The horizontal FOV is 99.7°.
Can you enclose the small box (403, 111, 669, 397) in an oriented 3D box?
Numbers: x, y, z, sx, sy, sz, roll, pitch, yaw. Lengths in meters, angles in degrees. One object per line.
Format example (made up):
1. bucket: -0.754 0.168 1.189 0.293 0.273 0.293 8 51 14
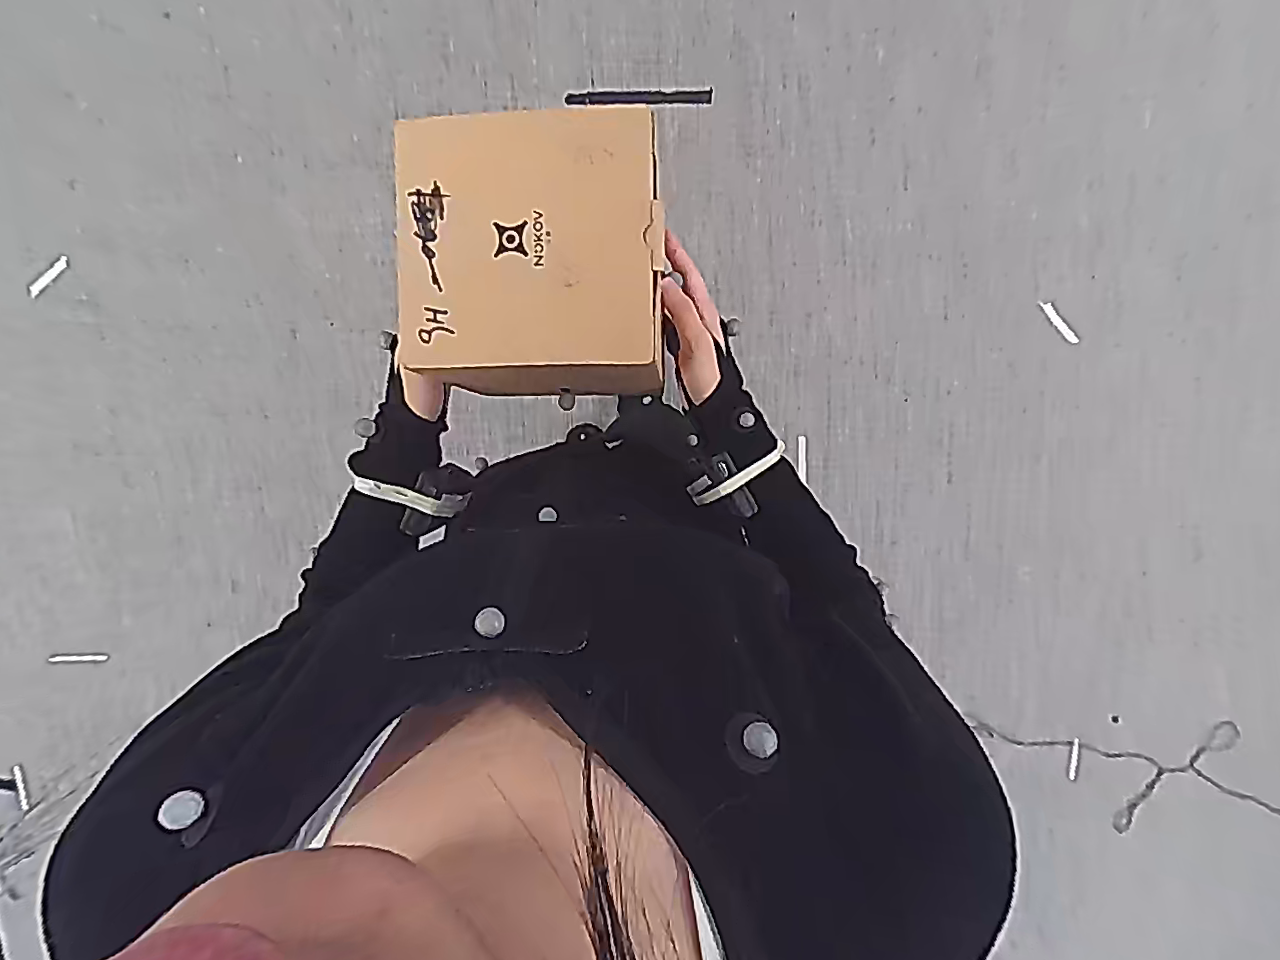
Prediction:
1. small box: -0.067 -0.160 0.435 0.179 0.176 0.168 0 92 3
